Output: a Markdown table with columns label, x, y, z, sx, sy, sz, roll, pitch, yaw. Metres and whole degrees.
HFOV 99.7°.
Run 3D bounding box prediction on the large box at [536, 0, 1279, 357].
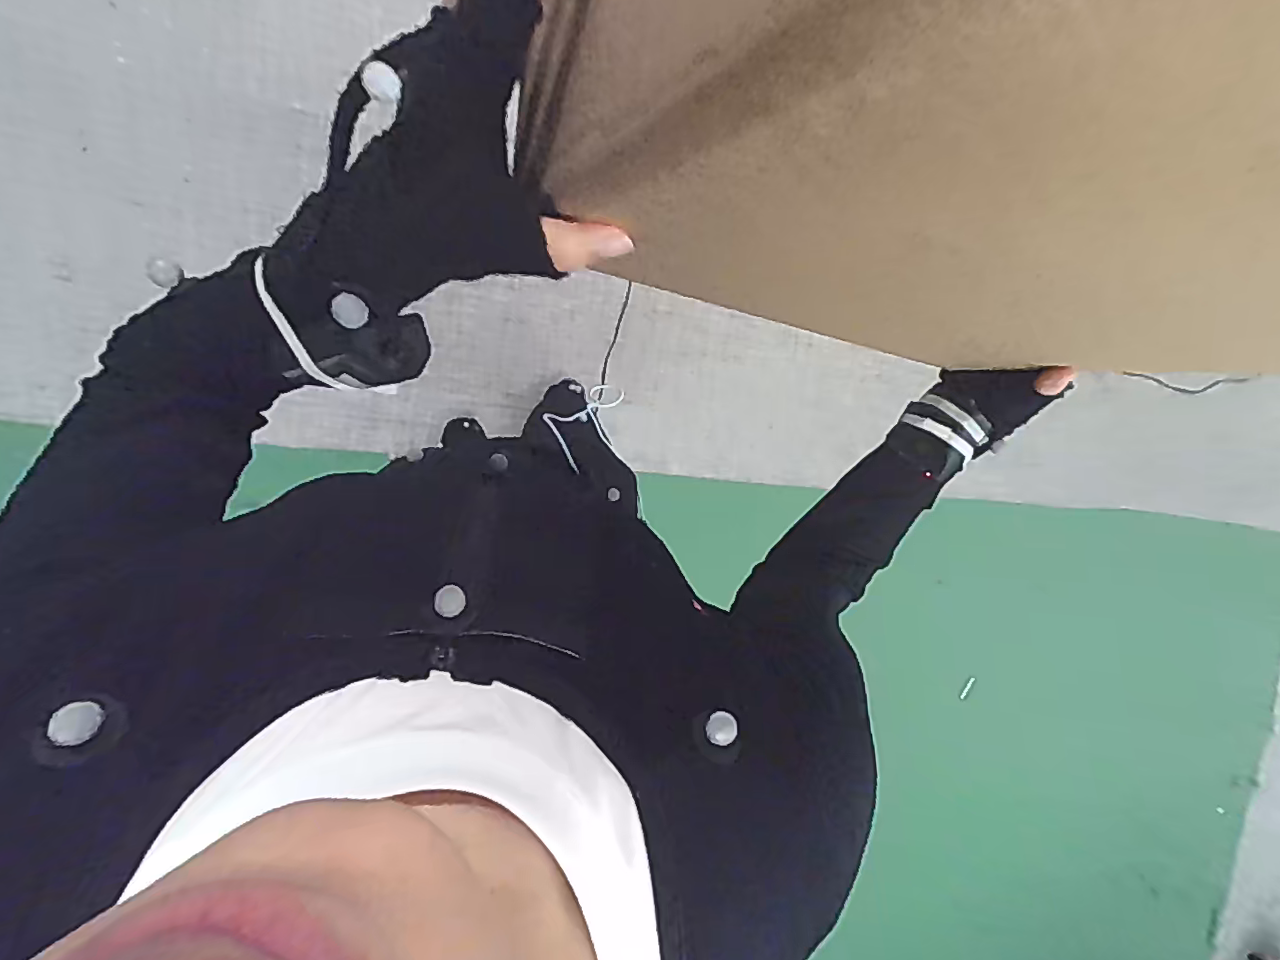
| label | x | y | z | sx | sy | sz | roll | pitch | yaw |
| --- | --- | --- | --- | --- | --- | --- | --- | --- | --- |
| large box | 0.205 | -0.236 | 0.226 | 0.408 | 0.320 | 0.320 | 3 | 100 | -33 |
